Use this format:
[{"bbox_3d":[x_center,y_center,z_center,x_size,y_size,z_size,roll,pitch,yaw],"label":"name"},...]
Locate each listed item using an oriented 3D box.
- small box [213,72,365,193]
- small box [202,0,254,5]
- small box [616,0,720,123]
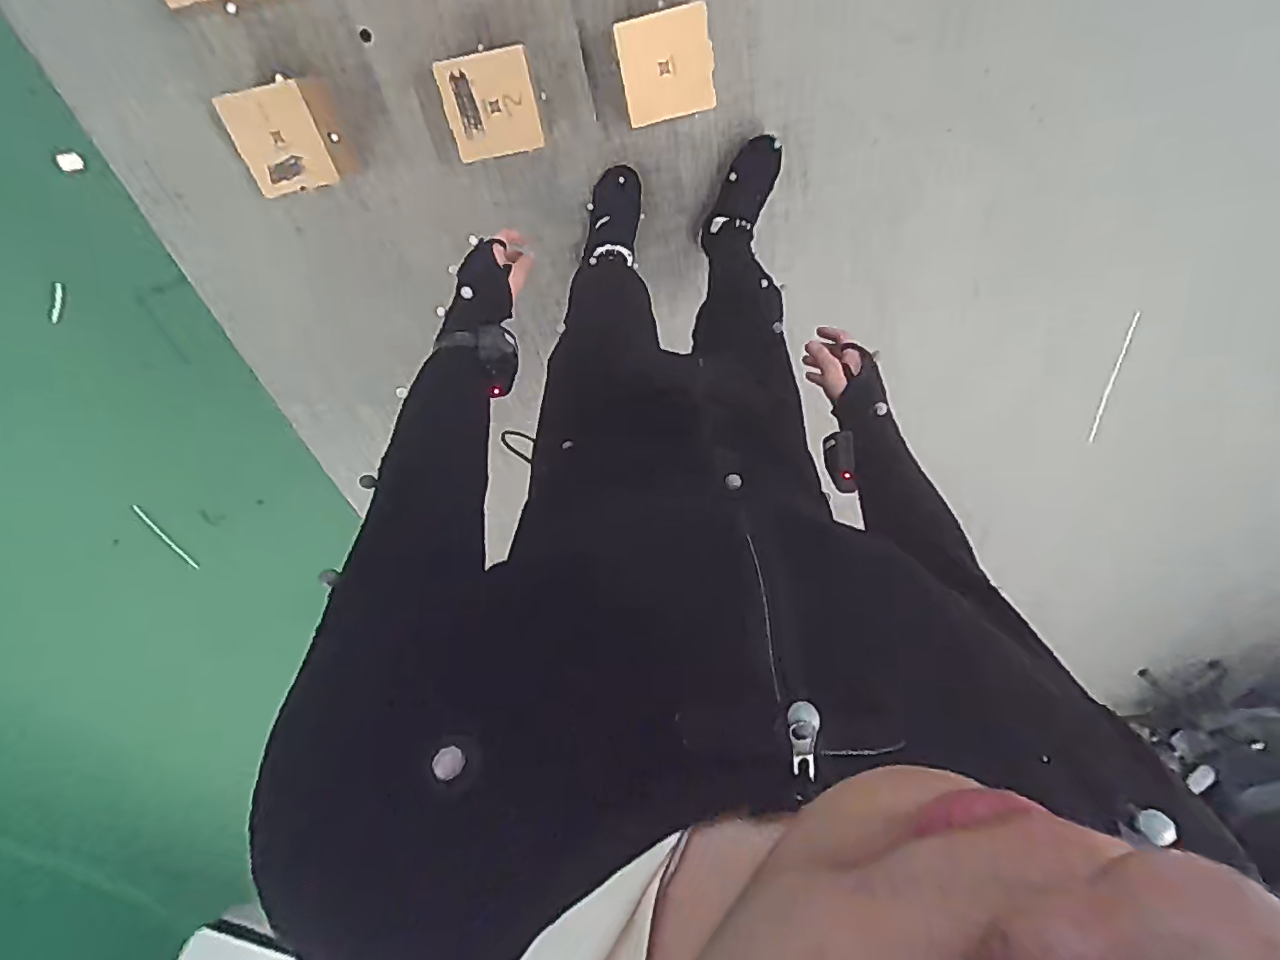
[{"bbox_3d":[-0.696,-0.710,1.101,0.168,0.176,0.179,-10,127,2],"label":"small box"},{"bbox_3d":[-0.724,-0.937,0.923,0.179,0.176,0.168,-8,128,2],"label":"small box"},{"bbox_3d":[0.052,-0.831,1.078,0.179,0.176,0.168,-13,128,3],"label":"small box"}]
